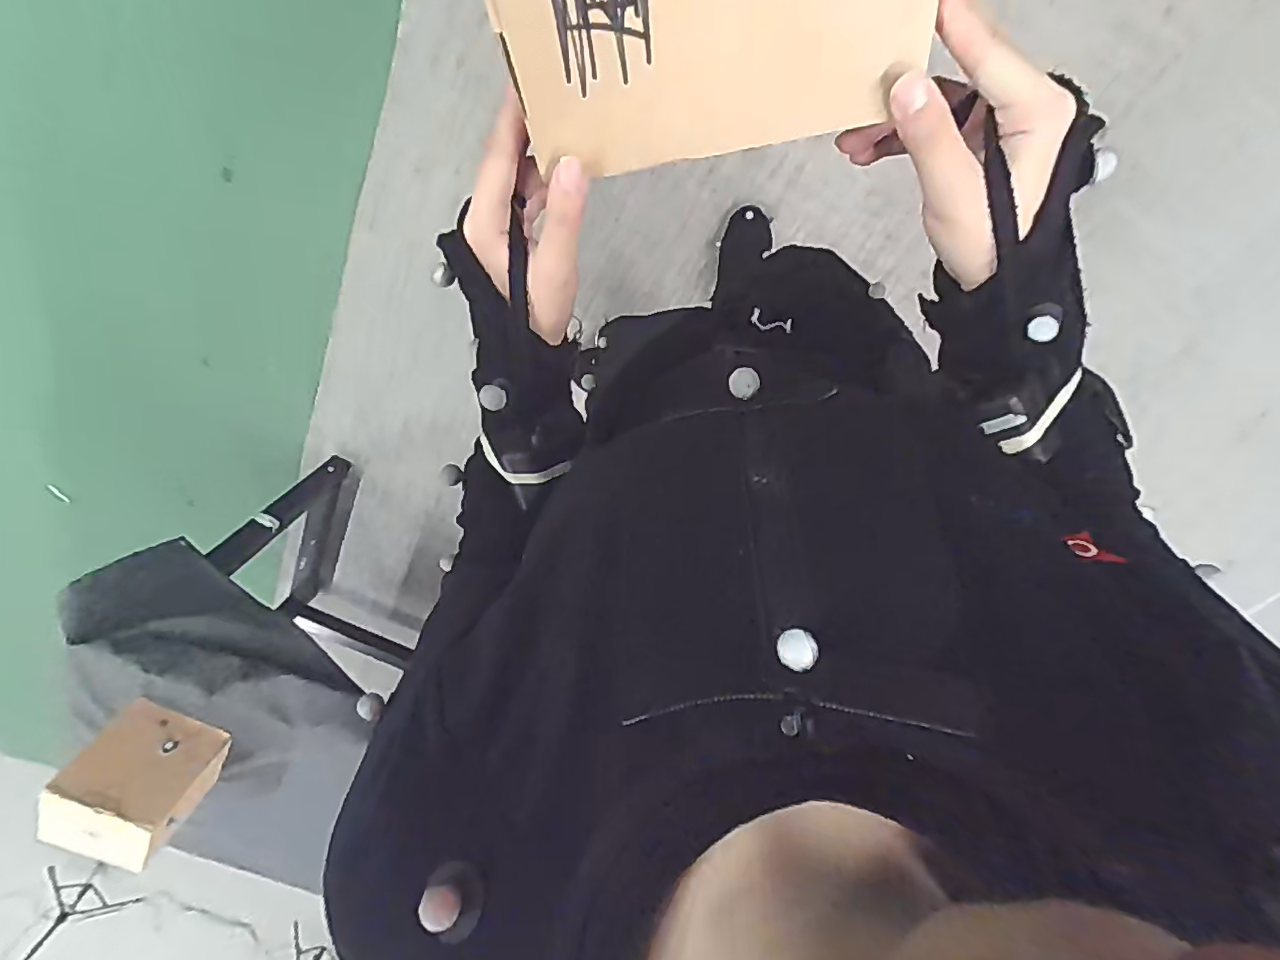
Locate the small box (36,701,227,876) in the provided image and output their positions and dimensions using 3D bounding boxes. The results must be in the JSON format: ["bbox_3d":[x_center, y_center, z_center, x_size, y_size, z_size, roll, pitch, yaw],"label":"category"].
[{"bbox_3d":[-0.843,0.513,0.910,0.168,0.176,0.179,30,118,-11],"label":"small box"}]
